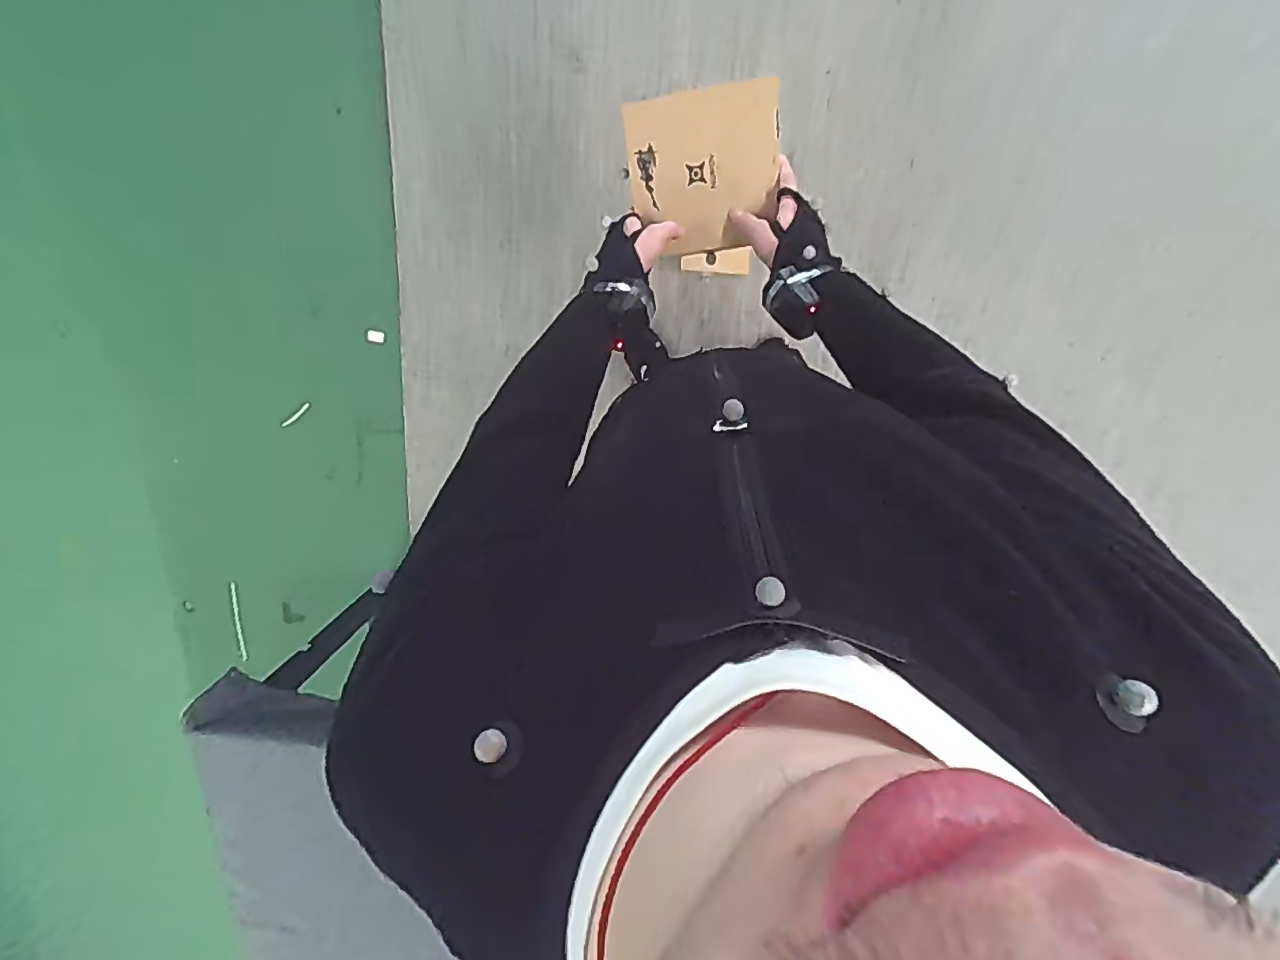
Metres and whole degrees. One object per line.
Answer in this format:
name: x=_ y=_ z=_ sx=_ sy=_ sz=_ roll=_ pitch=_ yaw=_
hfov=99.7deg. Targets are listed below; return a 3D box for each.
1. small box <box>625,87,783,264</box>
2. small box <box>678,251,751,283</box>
small box: x=0.083 y=-0.380 z=0.705 sx=0.179 sy=0.176 sz=0.168 roll=-5 pitch=111 yaw=8
small box: x=0.188 y=-0.588 z=1.323 sx=0.168 sy=0.176 sz=0.179 roll=9 pitch=108 yaw=5
